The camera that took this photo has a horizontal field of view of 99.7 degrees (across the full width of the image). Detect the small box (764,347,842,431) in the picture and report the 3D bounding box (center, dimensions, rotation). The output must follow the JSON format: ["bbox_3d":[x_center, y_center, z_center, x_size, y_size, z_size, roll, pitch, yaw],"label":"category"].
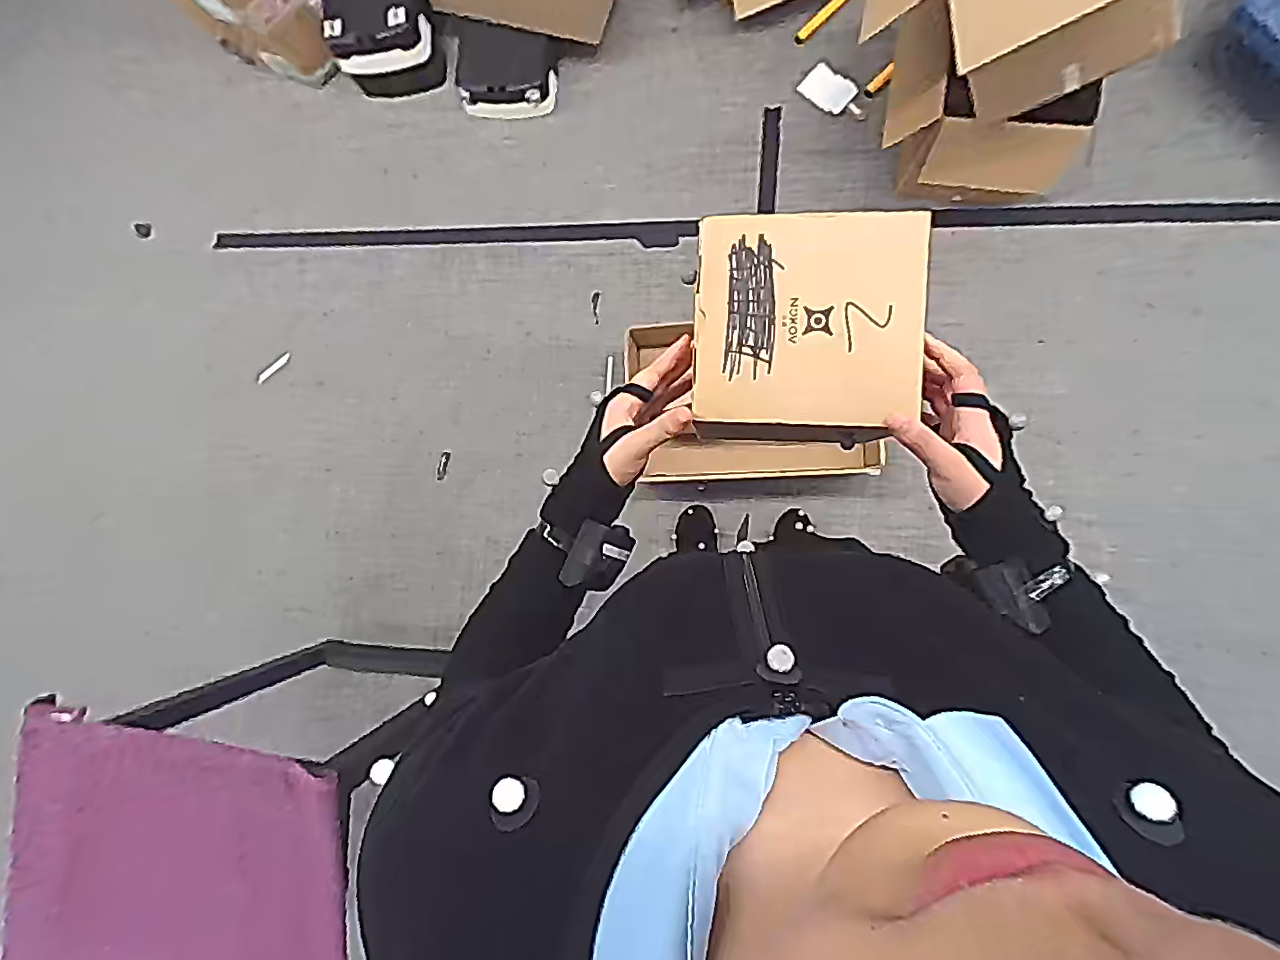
[{"bbox_3d":[0.405,-0.224,1.362,0.168,0.176,0.179,-2,87,9],"label":"small box"}]

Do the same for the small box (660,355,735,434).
[{"bbox_3d":[0.148,-0.215,1.395,0.179,0.176,0.168,-4,86,7],"label":"small box"}]
